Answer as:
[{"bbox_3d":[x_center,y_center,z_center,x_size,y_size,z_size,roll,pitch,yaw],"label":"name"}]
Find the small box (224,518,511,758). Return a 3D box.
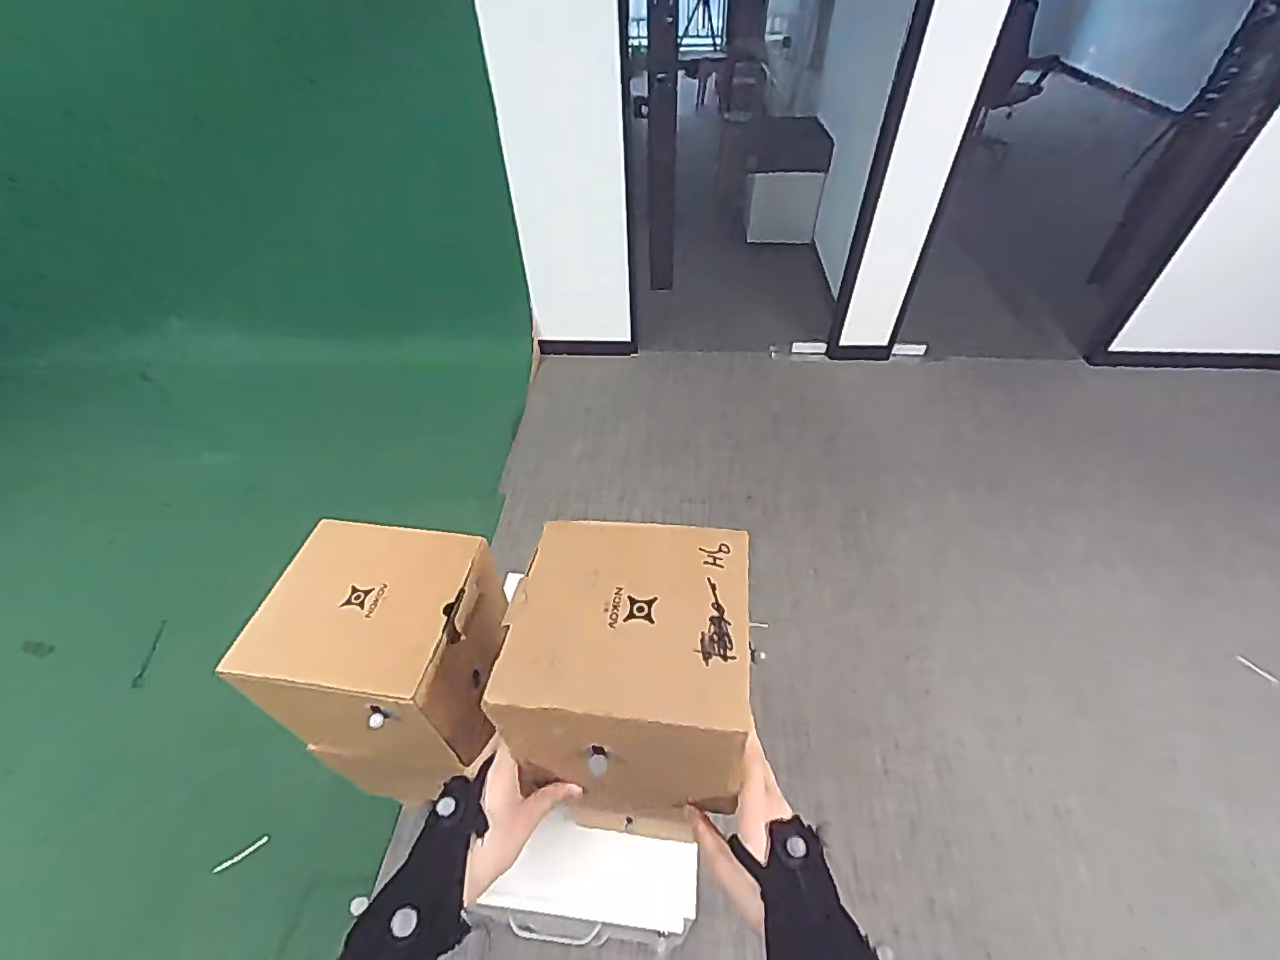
[{"bbox_3d":[-0.246,0.161,0.546,0.179,0.176,0.168,6,46,5],"label":"small box"}]

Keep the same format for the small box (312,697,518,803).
[{"bbox_3d":[-0.243,0.278,0.660,0.179,0.176,0.168,4,46,4],"label":"small box"}]

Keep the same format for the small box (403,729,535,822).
[{"bbox_3d":[-0.241,0.377,0.789,0.168,0.176,0.179,6,47,4],"label":"small box"}]

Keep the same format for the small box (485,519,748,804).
[{"bbox_3d":[-0.001,0.152,0.458,0.179,0.176,0.168,3,44,9],"label":"small box"}]

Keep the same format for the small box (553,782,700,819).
[{"bbox_3d":[-0.009,0.284,0.645,0.179,0.176,0.168,5,47,7],"label":"small box"}]
